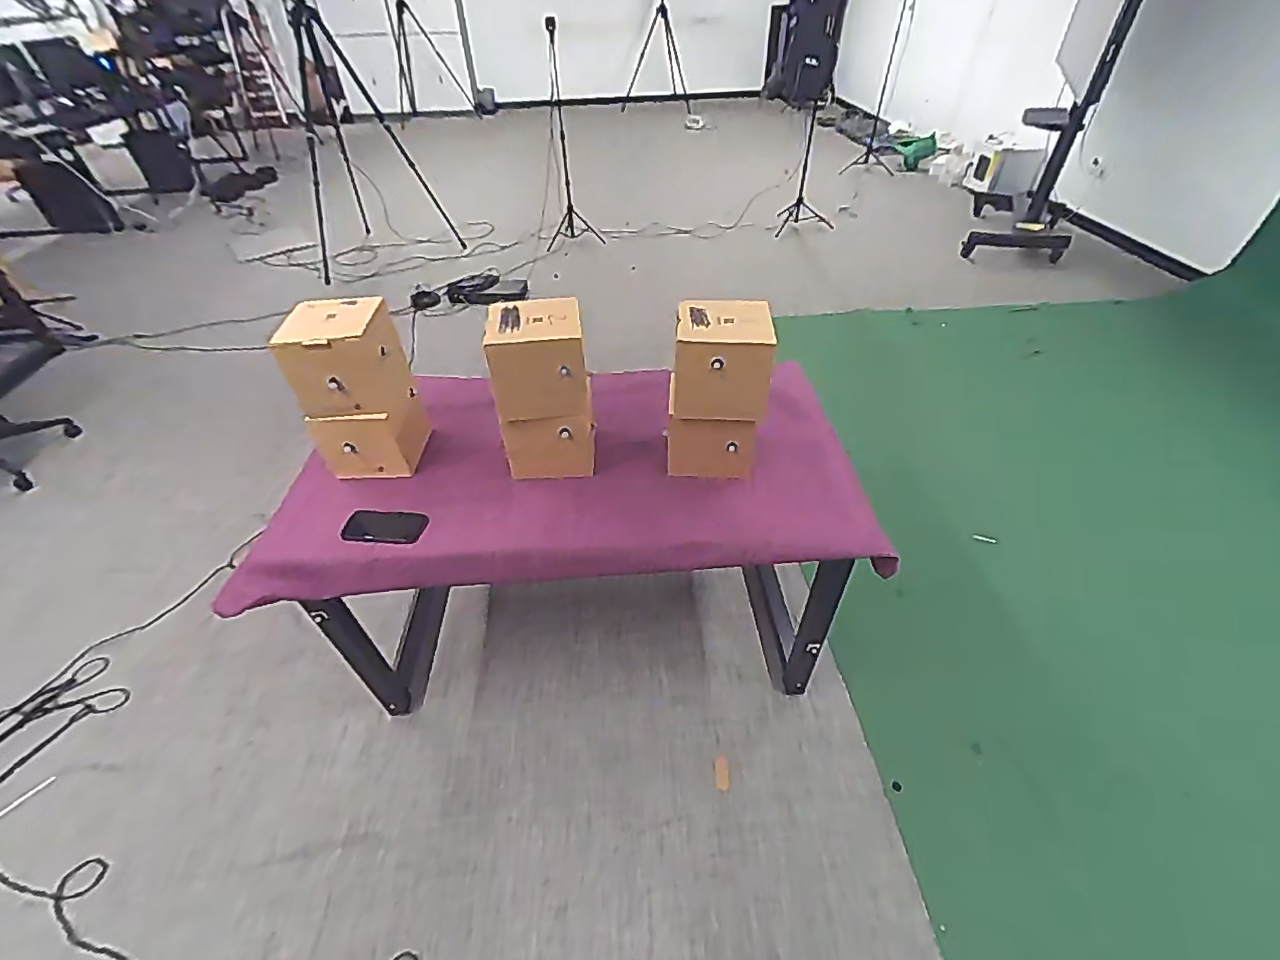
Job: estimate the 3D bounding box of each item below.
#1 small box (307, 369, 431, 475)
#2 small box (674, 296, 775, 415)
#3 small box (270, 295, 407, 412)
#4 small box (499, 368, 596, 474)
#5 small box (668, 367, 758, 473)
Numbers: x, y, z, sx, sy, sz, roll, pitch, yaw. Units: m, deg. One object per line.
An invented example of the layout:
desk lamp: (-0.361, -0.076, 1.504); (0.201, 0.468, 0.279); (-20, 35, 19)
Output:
small box: (-0.580, -0.123, 1.188); (0.168, 0.176, 0.179); (-2, 43, 1)
small box: (0.154, -0.239, 1.037); (0.179, 0.176, 0.168); (2, 43, 4)
small box: (-0.586, -0.248, 1.082); (0.168, 0.176, 0.179); (-5, 44, -4)
small box: (-0.190, -0.126, 1.170); (0.179, 0.176, 0.168); (-2, 43, 0)
small box: (0.151, -0.129, 1.160); (0.179, 0.176, 0.168); (1, 43, 5)
